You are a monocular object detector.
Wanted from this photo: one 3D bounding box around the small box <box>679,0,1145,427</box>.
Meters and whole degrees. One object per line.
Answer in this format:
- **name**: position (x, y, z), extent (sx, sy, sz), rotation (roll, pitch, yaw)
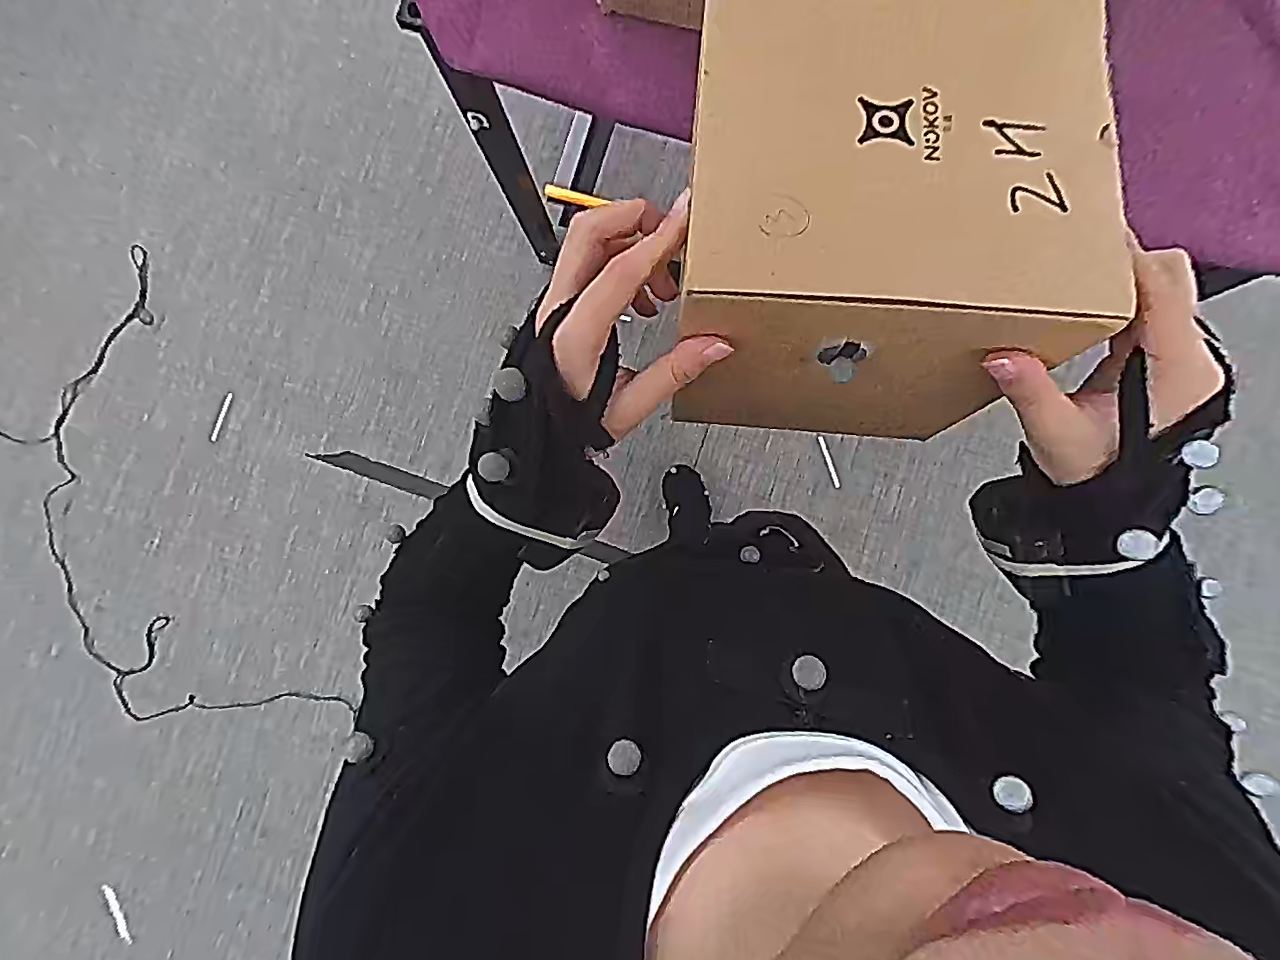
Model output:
- **small box**: position (0.115, -0.134, 0.303), extent (0.179, 0.176, 0.168), rotation (5, 79, 3)
